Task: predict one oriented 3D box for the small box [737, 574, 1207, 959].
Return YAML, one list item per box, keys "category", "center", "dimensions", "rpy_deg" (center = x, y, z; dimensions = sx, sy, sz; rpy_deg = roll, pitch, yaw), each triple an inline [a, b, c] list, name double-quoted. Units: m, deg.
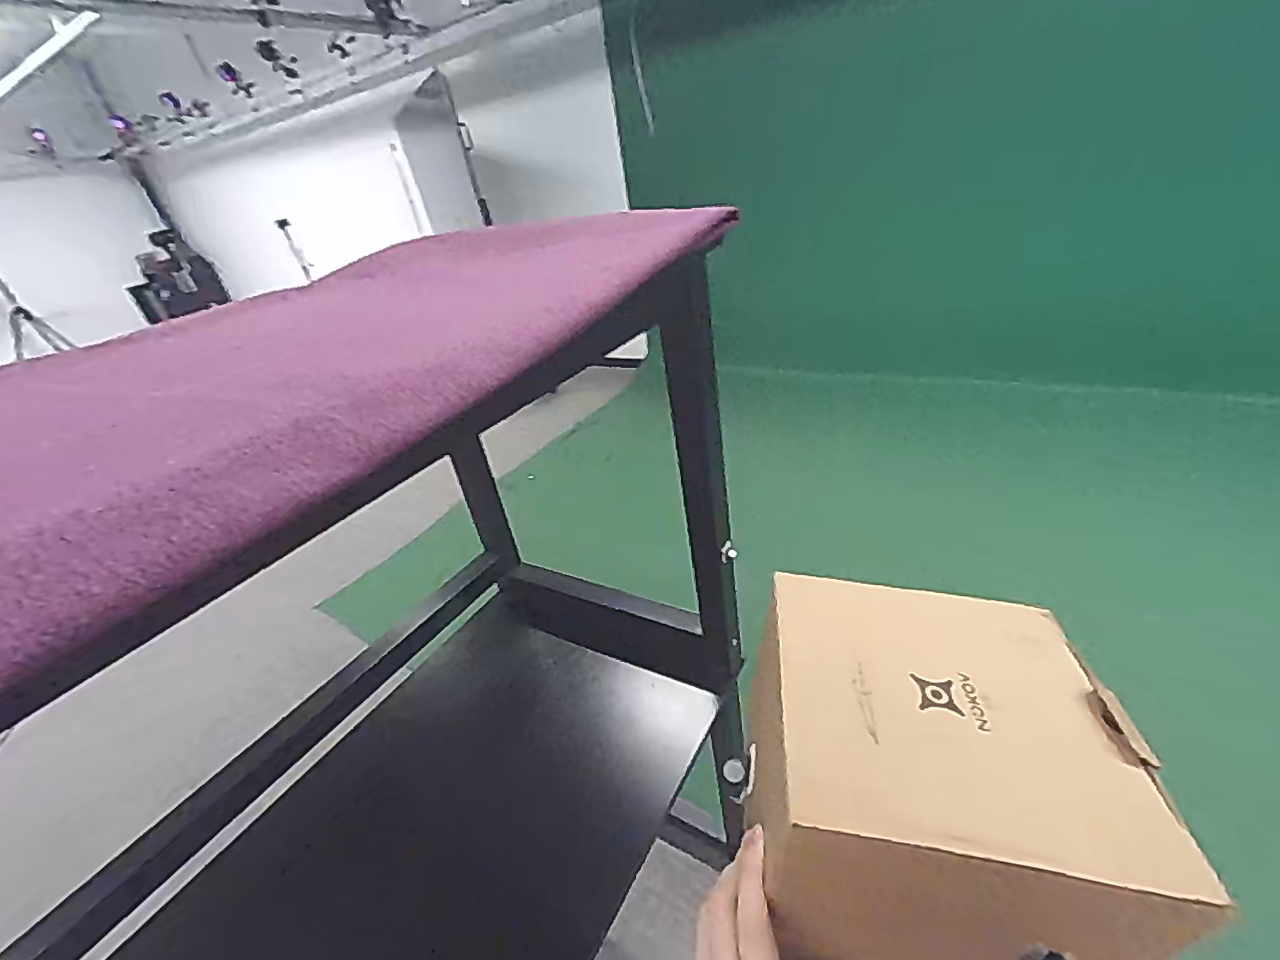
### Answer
- category: "small box"
  center: [0.161, 0.185, 0.341]
  dimensions: [0.179, 0.176, 0.168]
  rpy_deg: [6, 31, 8]
